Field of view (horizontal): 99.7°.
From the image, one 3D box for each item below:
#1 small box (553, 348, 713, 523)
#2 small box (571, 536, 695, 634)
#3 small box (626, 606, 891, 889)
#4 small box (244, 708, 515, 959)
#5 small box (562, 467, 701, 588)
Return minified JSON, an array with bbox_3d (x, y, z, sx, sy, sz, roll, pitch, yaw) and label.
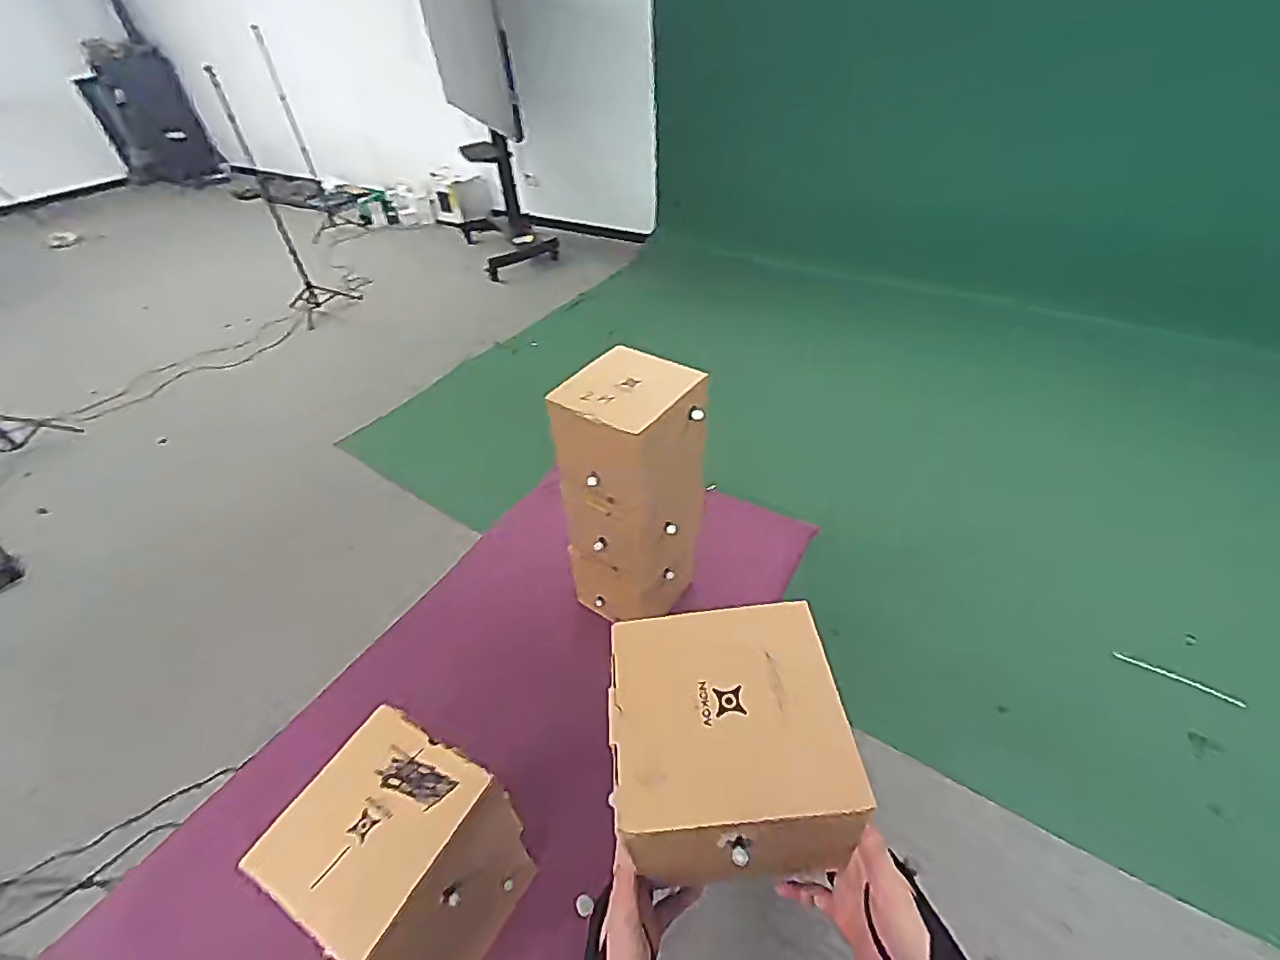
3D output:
[{"bbox_3d":[-0.007,-0.070,0.820,0.168,0.176,0.179,25,50,28],"label":"small box"},{"bbox_3d":[-0.011,0.169,1.048,0.168,0.176,0.179,26,50,27],"label":"small box"},{"bbox_3d":[0.086,0.232,0.467,0.179,0.176,0.168,-6,42,2],"label":"small box"},{"bbox_3d":[-0.252,0.388,0.573,0.168,0.176,0.179,19,47,22],"label":"small box"},{"bbox_3d":[-0.007,0.053,0.932,0.168,0.176,0.179,26,51,27],"label":"small box"}]
